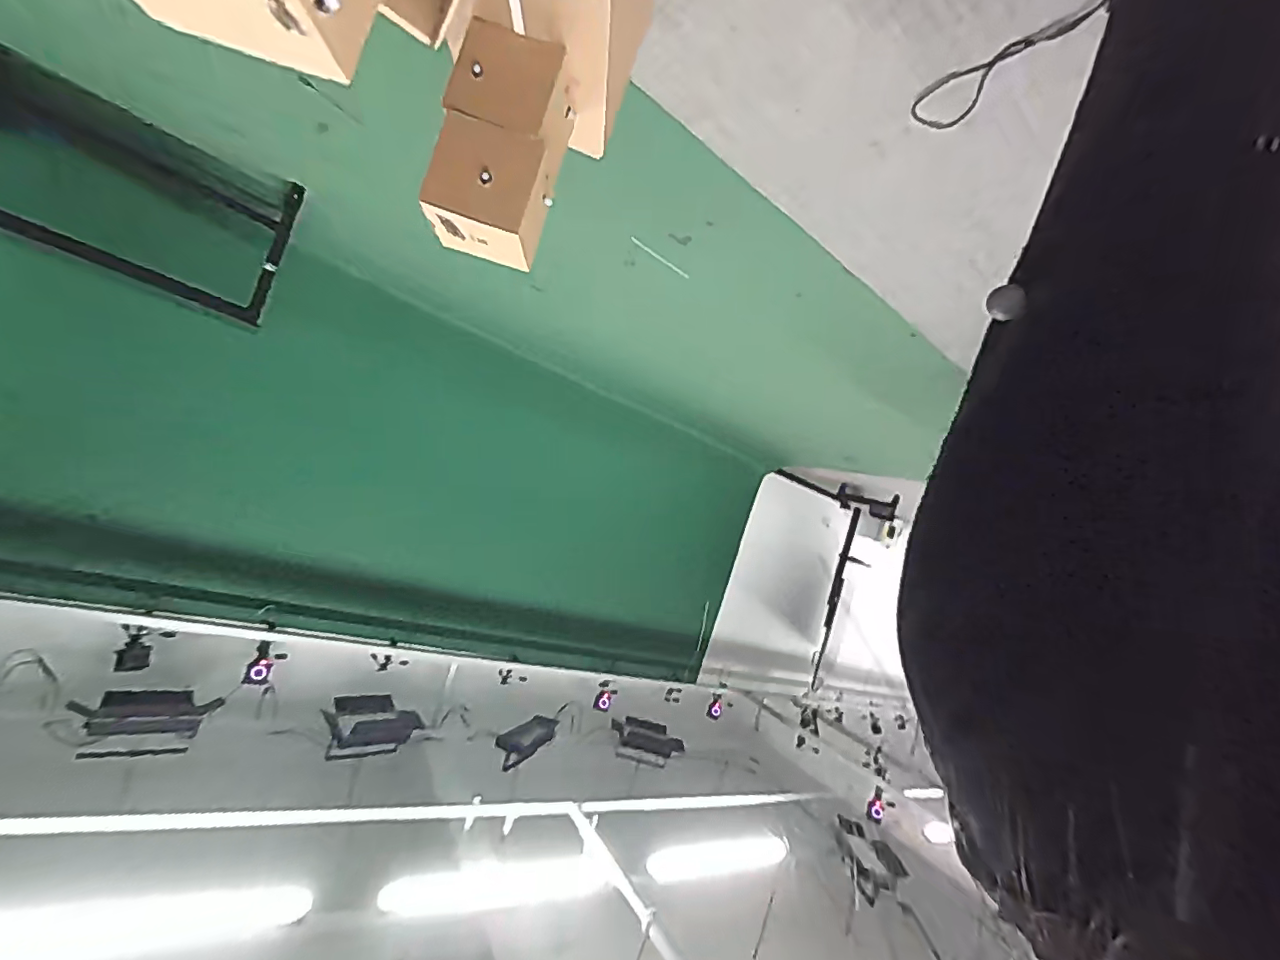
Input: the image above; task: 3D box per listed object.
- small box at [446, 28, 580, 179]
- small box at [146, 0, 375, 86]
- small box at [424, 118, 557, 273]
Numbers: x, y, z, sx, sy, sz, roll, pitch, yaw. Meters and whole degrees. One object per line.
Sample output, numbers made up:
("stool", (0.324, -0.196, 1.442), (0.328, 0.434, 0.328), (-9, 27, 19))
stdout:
("small box", (-0.224, -0.675, 0.996), (0.179, 0.176, 0.168), (18, 178, 0))
("small box", (-0.302, -0.455, 0.397), (0.179, 0.176, 0.168), (19, 176, -3))
("small box", (-0.263, -0.516, 0.988), (0.179, 0.176, 0.168), (17, 178, -5))
